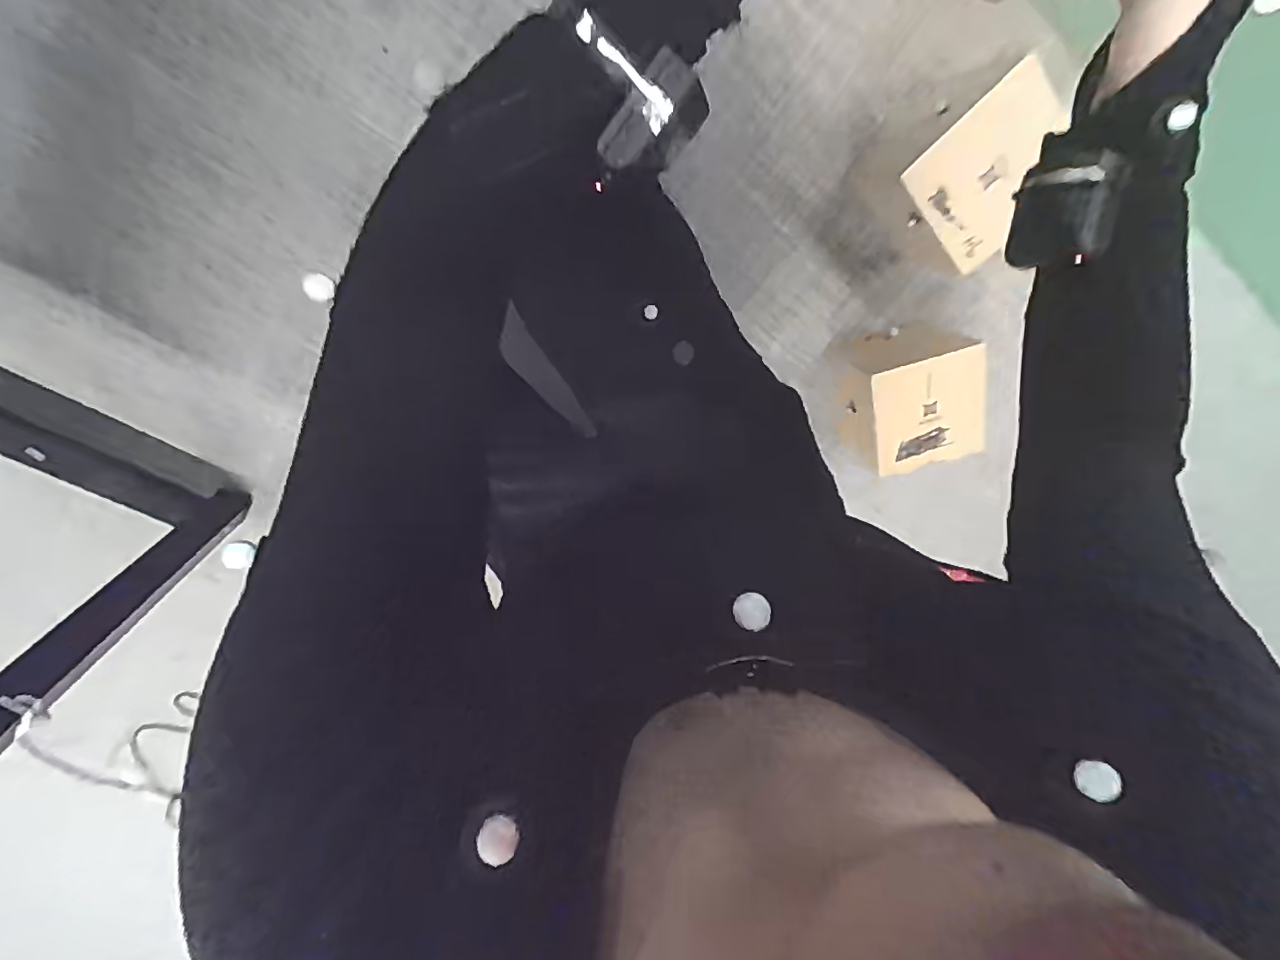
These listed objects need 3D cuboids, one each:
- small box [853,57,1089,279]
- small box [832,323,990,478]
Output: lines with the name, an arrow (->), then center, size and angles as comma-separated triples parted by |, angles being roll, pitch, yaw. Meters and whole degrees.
small box -> 0.423, -0.403, 0.717 | 0.179, 0.176, 0.168 | -42, 114, 17
small box -> 0.423, -0.132, 0.865 | 0.168, 0.176, 0.179 | -15, 117, 4
